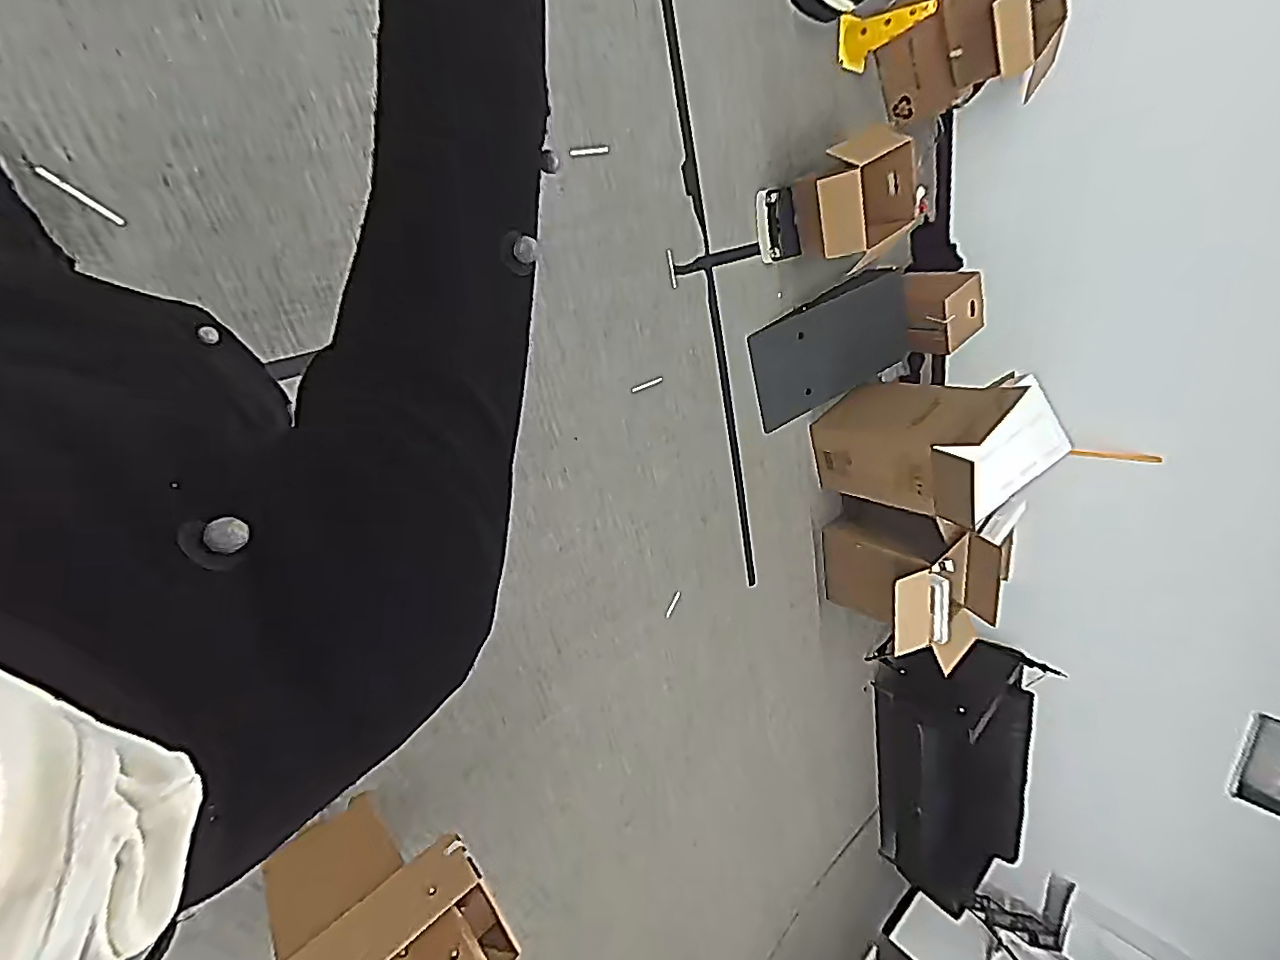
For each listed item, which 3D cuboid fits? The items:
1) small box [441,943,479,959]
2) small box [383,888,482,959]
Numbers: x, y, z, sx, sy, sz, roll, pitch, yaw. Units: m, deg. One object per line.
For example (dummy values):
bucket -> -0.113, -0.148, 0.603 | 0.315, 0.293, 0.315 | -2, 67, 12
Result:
small box -> -0.439, 1.278, 1.301 | 0.168, 0.176, 0.179 | -32, 123, -30
small box -> -0.548, 1.240, 1.417 | 0.179, 0.176, 0.168 | -34, 123, -30
